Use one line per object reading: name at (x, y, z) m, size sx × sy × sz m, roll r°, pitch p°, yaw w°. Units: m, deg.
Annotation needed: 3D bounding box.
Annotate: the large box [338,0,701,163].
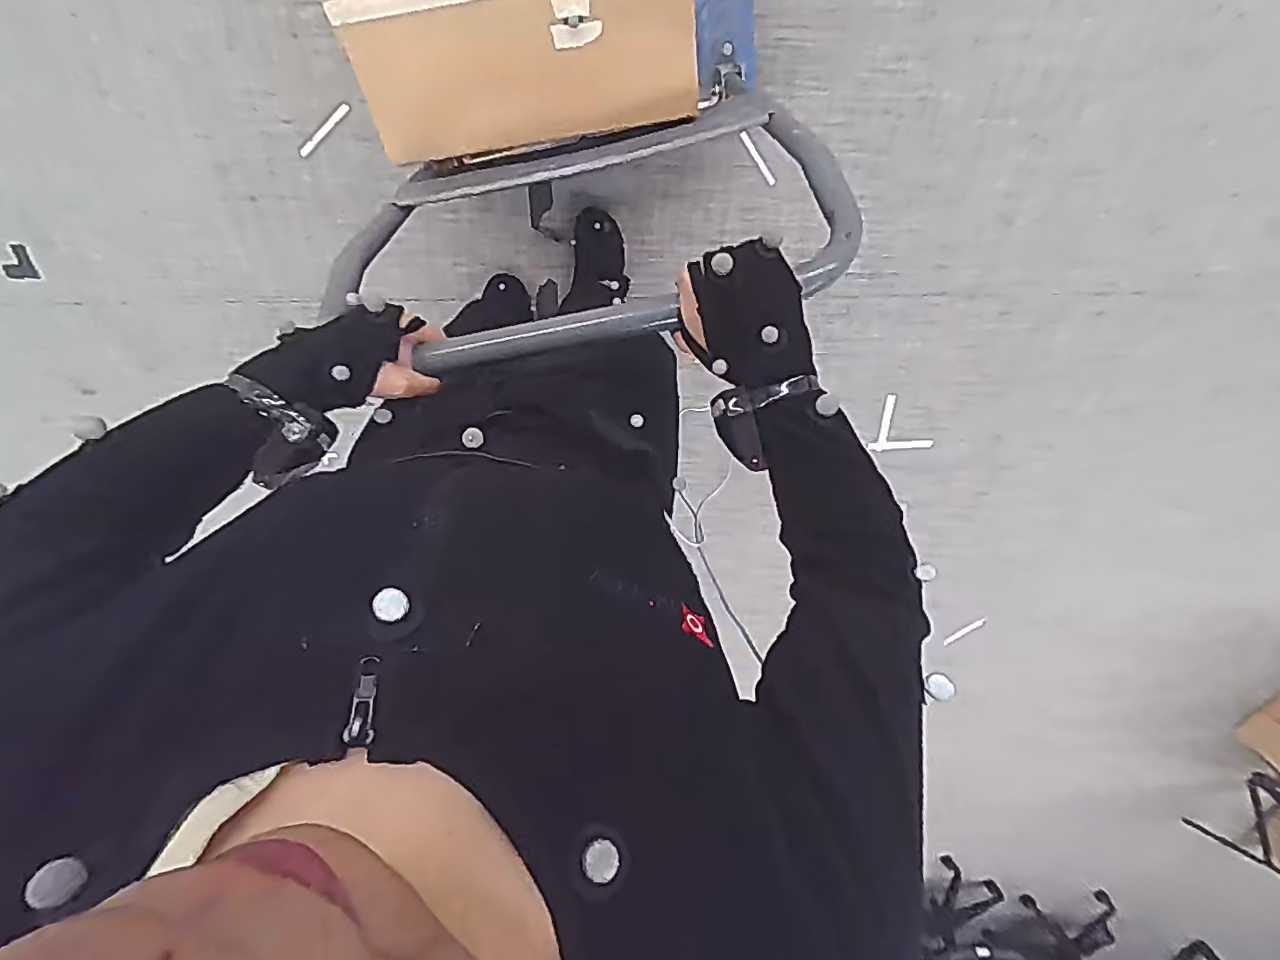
large box at (-0.150, -0.649, 0.710) m, size 0.408 × 0.320 × 0.320 m, roll -8°, pitch 130°, yaw 3°
